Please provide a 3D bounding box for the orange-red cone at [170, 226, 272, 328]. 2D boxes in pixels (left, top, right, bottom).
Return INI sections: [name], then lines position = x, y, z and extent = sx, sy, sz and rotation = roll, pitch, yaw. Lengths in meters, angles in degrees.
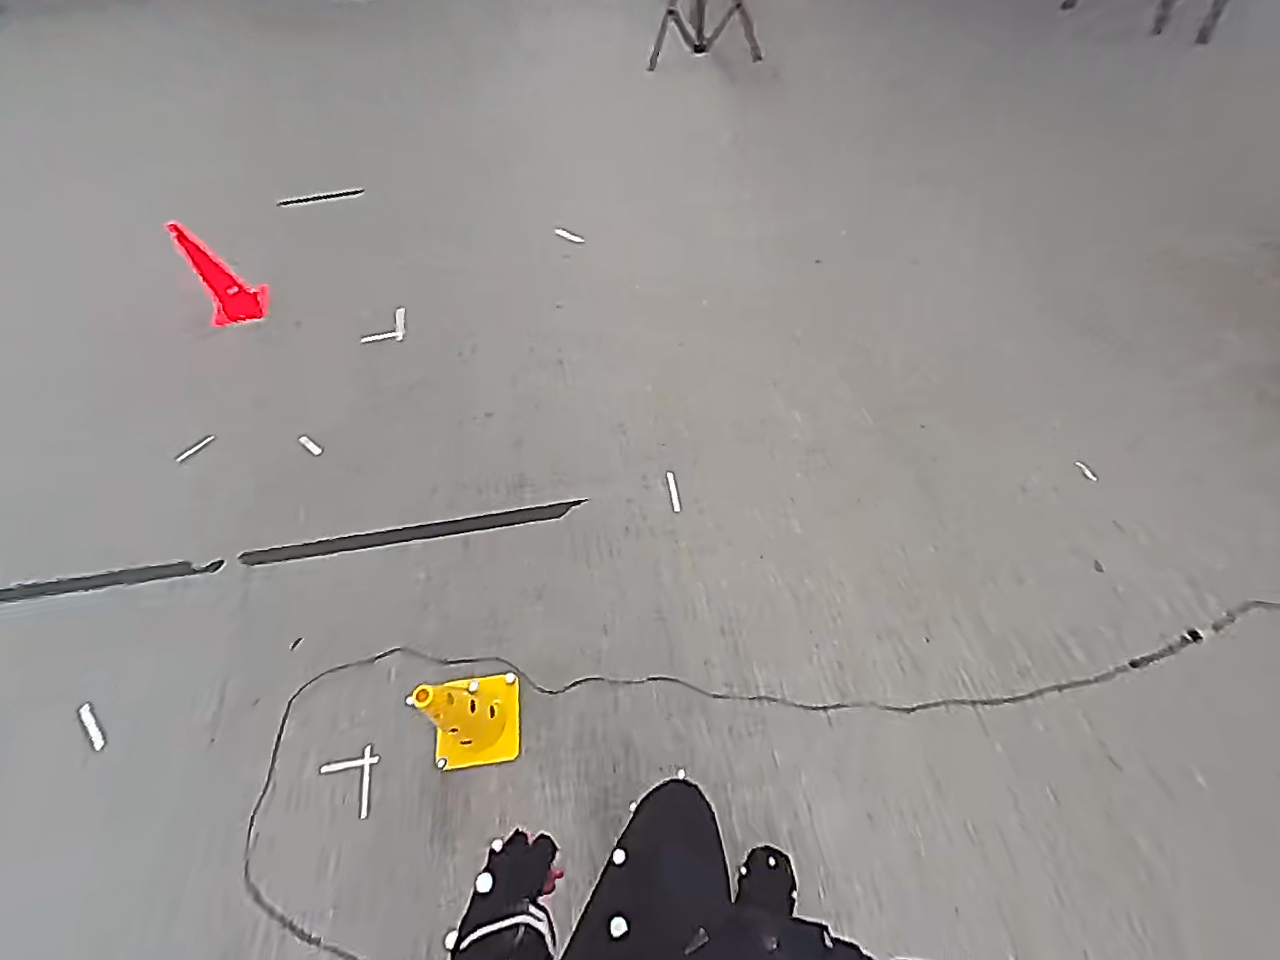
[orange-red cone]
position = -1.599, -0.777, 2.020
extent = 0.199, 0.360, 0.198
rotation = -14, 59, -3
